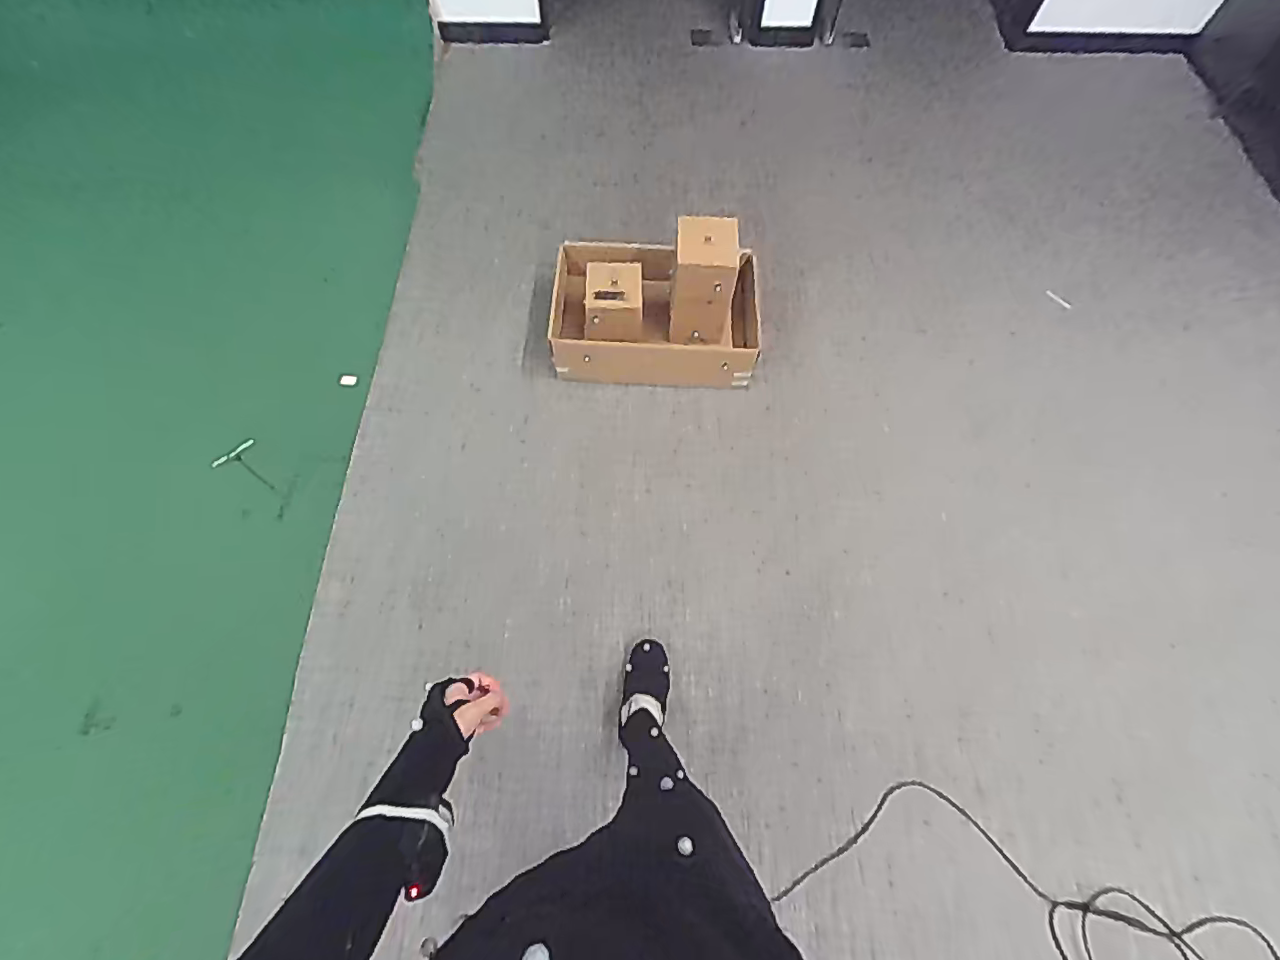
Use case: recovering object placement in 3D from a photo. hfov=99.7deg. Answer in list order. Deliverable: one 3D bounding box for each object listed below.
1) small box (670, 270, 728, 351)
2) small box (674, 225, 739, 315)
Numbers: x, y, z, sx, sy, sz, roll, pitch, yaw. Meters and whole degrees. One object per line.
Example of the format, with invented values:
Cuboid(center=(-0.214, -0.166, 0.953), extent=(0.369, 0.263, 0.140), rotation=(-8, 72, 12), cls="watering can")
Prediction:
Cuboid(center=(0.181, -0.527, 1.682), extent=(0.168, 0.176, 0.179), rotation=(2, 66, 2), cls="small box")
Cuboid(center=(0.186, -0.591, 1.532), extent=(0.168, 0.176, 0.179), rotation=(3, 65, 1), cls="small box")
